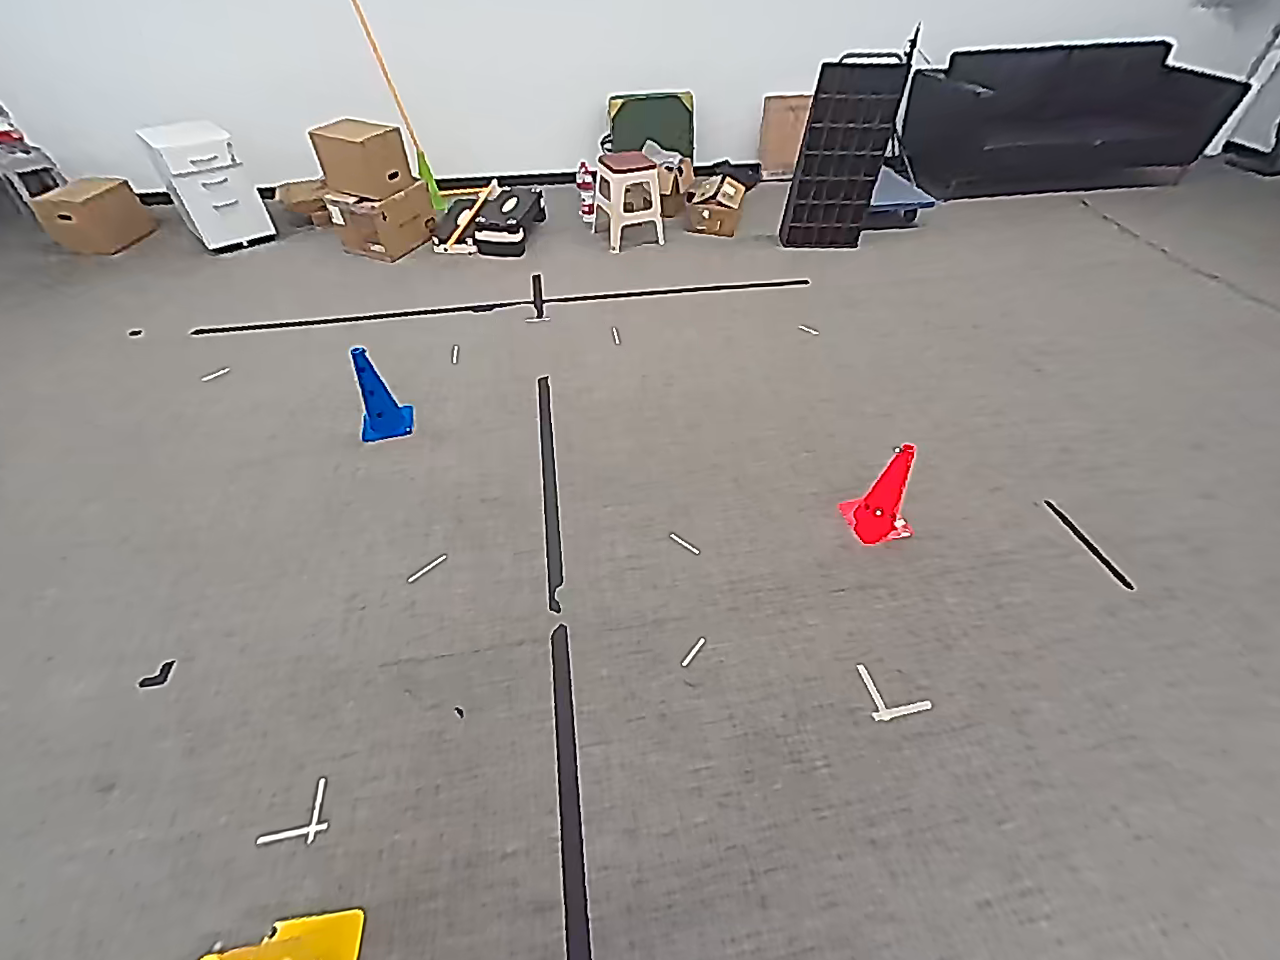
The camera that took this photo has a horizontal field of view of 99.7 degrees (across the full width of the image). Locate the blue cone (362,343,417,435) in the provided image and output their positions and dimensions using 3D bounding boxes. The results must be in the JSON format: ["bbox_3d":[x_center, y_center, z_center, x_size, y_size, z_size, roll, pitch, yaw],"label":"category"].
[{"bbox_3d":[-1.041,-0.374,2.163,0.192,0.380,0.193,-10,47,-10],"label":"blue cone"}]

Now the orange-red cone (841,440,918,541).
[{"bbox_3d":[0.846,0.010,1.812,0.198,0.360,0.199,-9,45,-10],"label":"orange-red cone"}]
